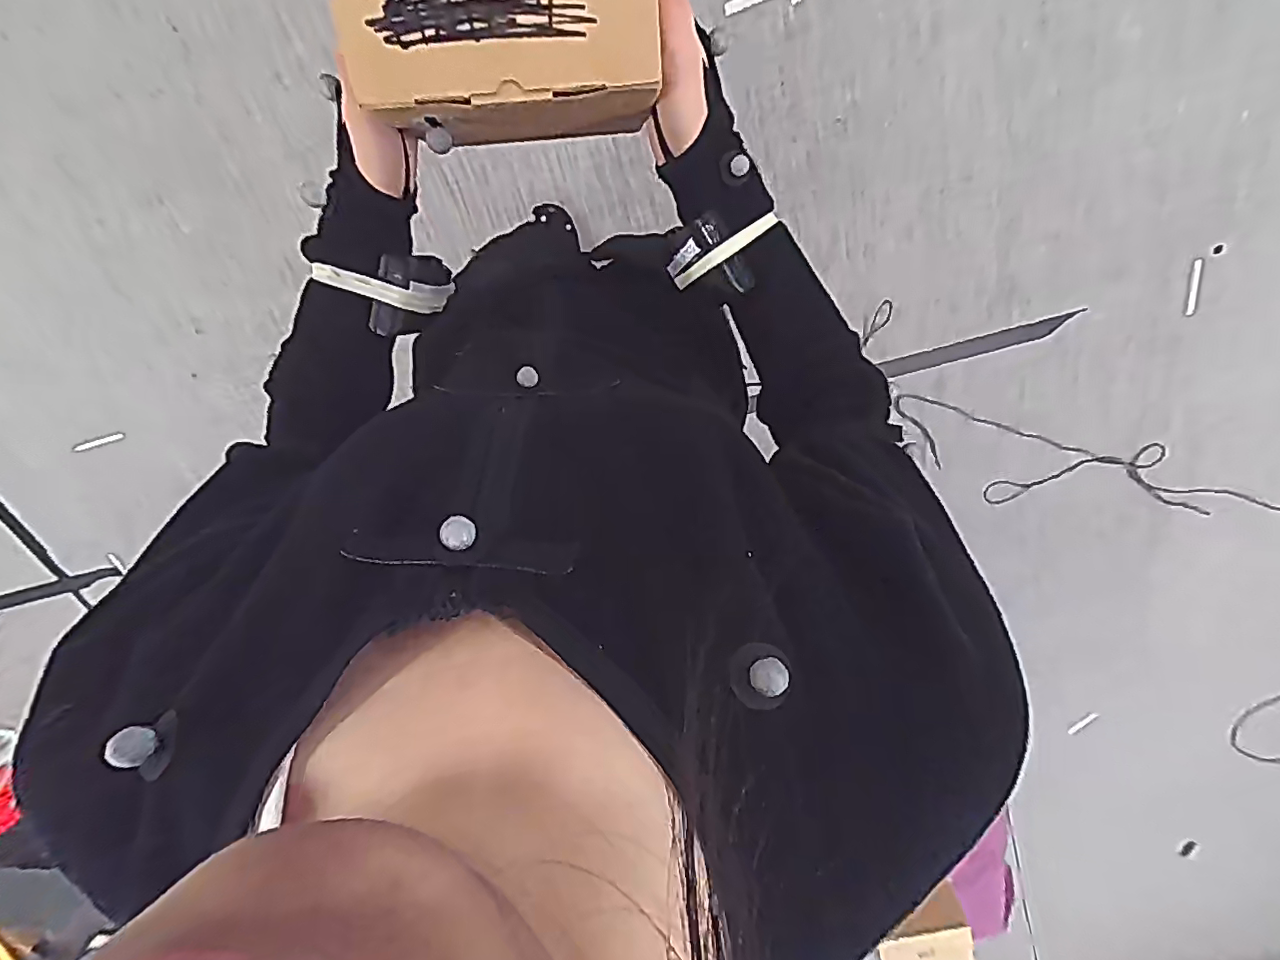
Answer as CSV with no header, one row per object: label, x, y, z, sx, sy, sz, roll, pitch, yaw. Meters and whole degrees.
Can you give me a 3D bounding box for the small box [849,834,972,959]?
small box,0.544,0.867,1.108,0.179,0.176,0.168,-18,117,7
